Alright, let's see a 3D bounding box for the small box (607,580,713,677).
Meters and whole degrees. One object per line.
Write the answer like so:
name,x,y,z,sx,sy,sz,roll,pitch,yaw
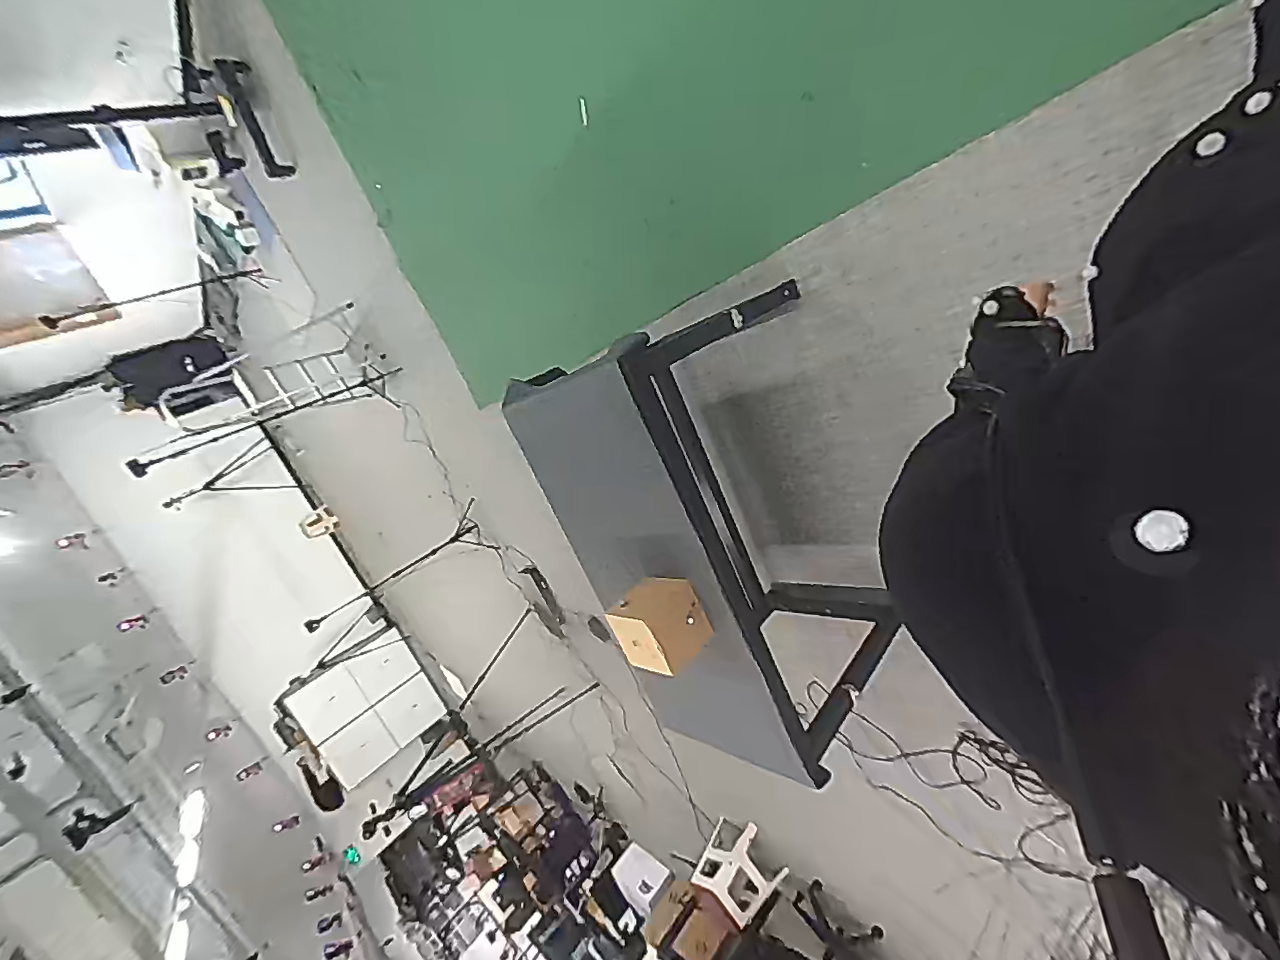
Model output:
small box,0.054,0.368,1.378,0.179,0.176,0.168,-10,110,52
